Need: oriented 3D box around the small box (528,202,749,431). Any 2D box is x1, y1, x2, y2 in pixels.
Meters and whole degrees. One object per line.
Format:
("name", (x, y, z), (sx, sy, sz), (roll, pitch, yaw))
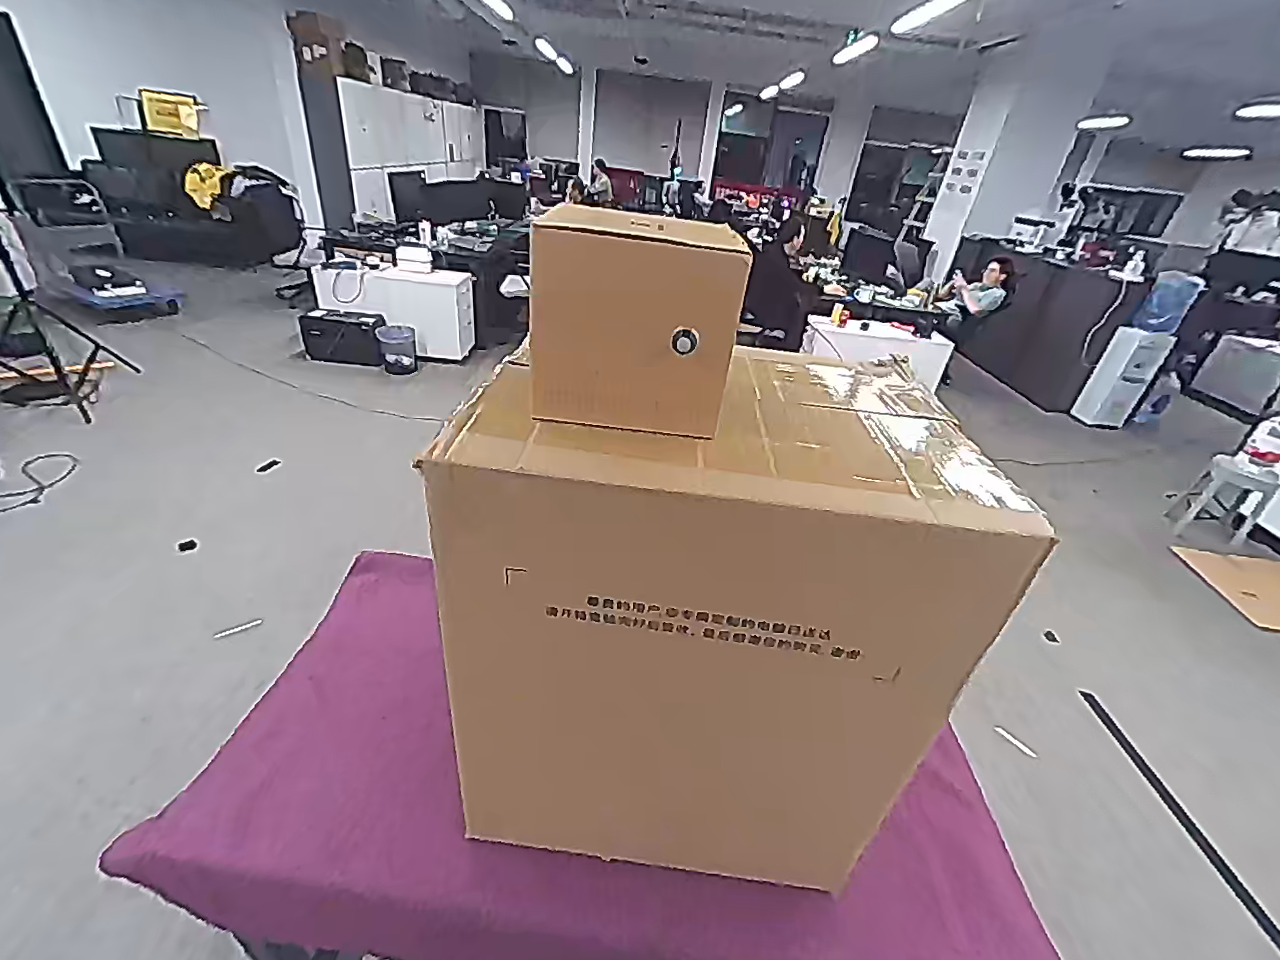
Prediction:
("small box", (-0.007, -0.159, 0.526), (0.179, 0.176, 0.168), (5, 31, -3))
